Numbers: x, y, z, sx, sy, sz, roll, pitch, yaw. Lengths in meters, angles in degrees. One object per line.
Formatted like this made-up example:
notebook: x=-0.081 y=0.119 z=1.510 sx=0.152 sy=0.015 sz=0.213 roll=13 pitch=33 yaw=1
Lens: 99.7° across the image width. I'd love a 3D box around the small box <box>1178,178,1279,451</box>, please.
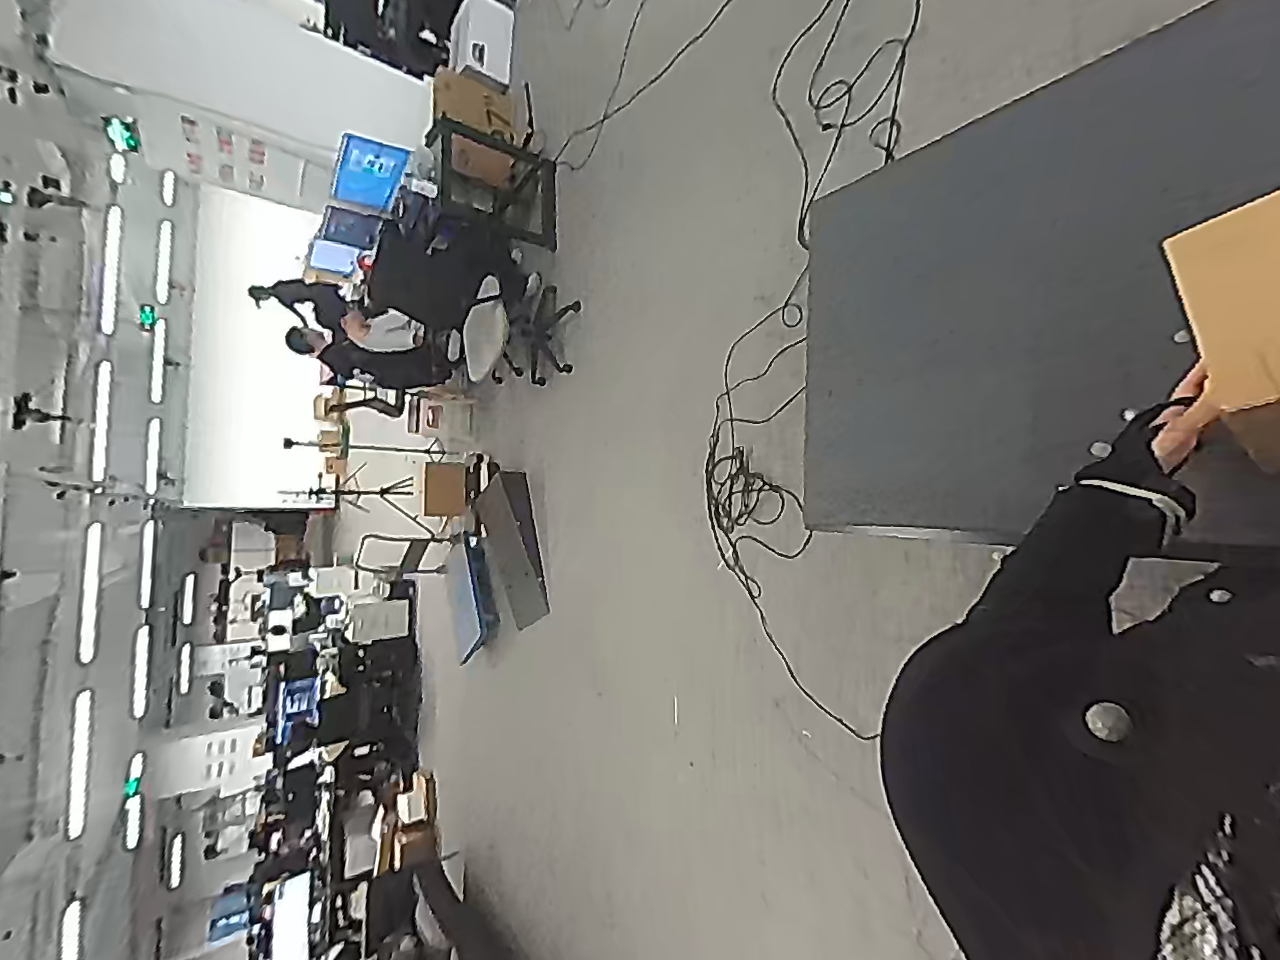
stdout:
small box: x=0.559 y=-0.134 z=0.407 sx=0.168 sy=0.176 sz=0.179 roll=-24 pitch=53 yaw=50
